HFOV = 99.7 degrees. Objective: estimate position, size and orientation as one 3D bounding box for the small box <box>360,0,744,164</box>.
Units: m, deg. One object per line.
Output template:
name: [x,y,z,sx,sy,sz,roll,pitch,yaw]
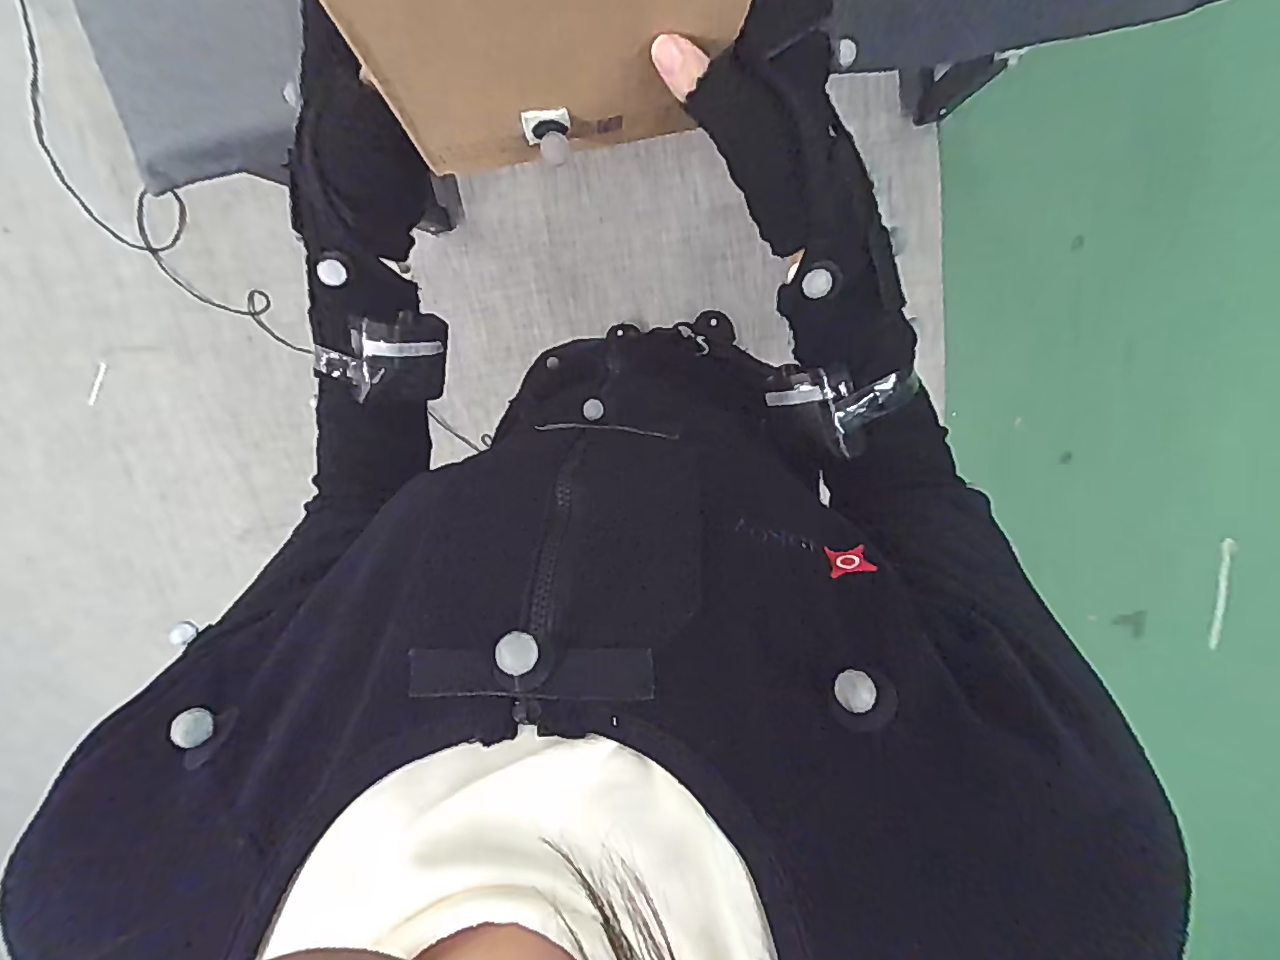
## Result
small box: [-0.050,-0.278,0.235,0.168,0.176,0.179,-14,98,-2]
